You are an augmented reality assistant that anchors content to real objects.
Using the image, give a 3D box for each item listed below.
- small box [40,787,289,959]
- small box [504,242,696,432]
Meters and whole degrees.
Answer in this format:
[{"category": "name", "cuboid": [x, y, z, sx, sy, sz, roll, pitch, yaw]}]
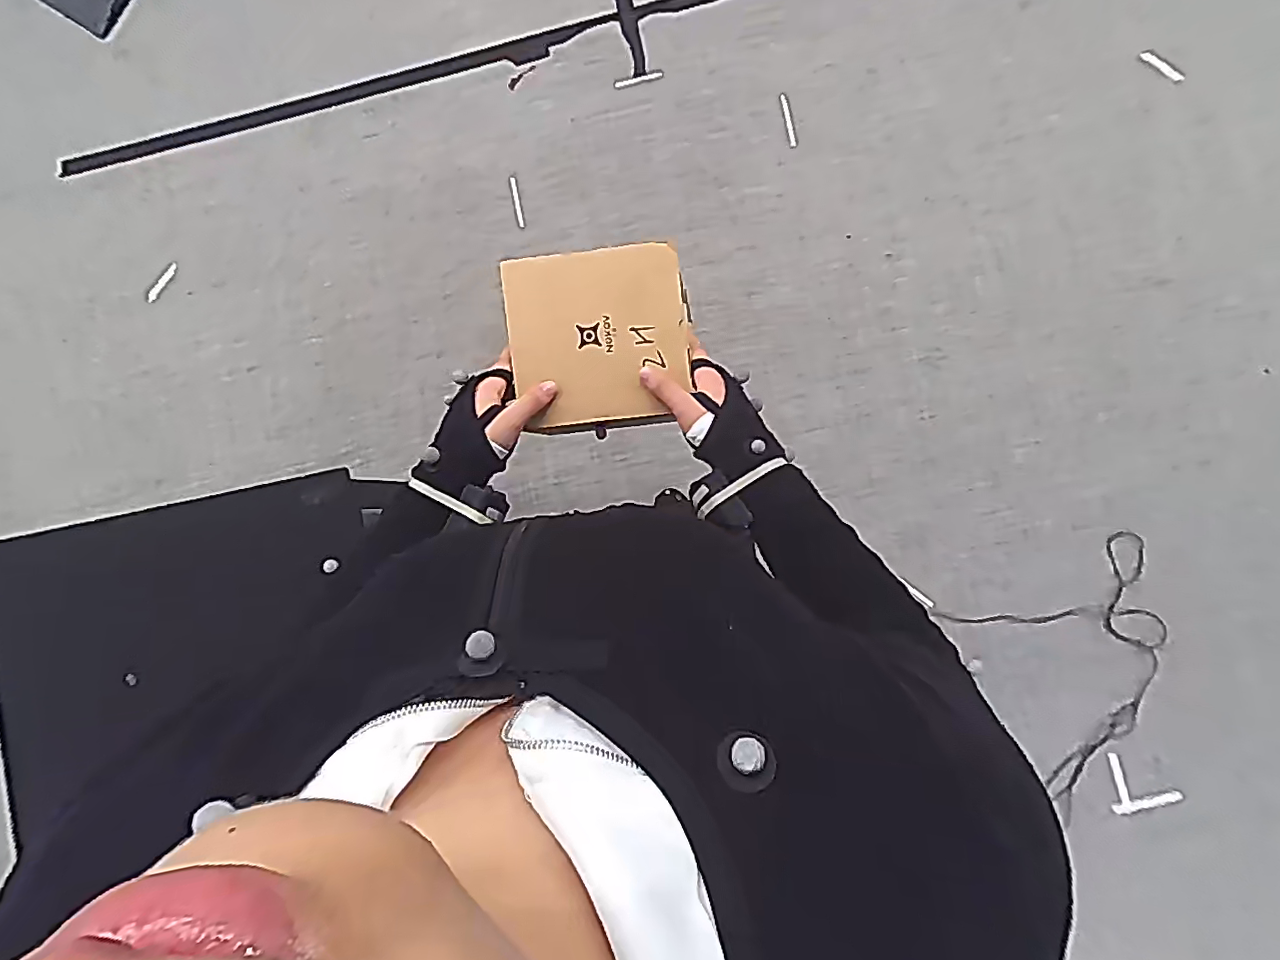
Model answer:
[{"category": "small box", "cuboid": [-0.601, 0.530, 0.703, 0.179, 0.176, 0.168, -8, 87, 1]}, {"category": "small box", "cuboid": [-0.037, -0.144, 0.604, 0.179, 0.176, 0.168, -6, 94, 1]}]
